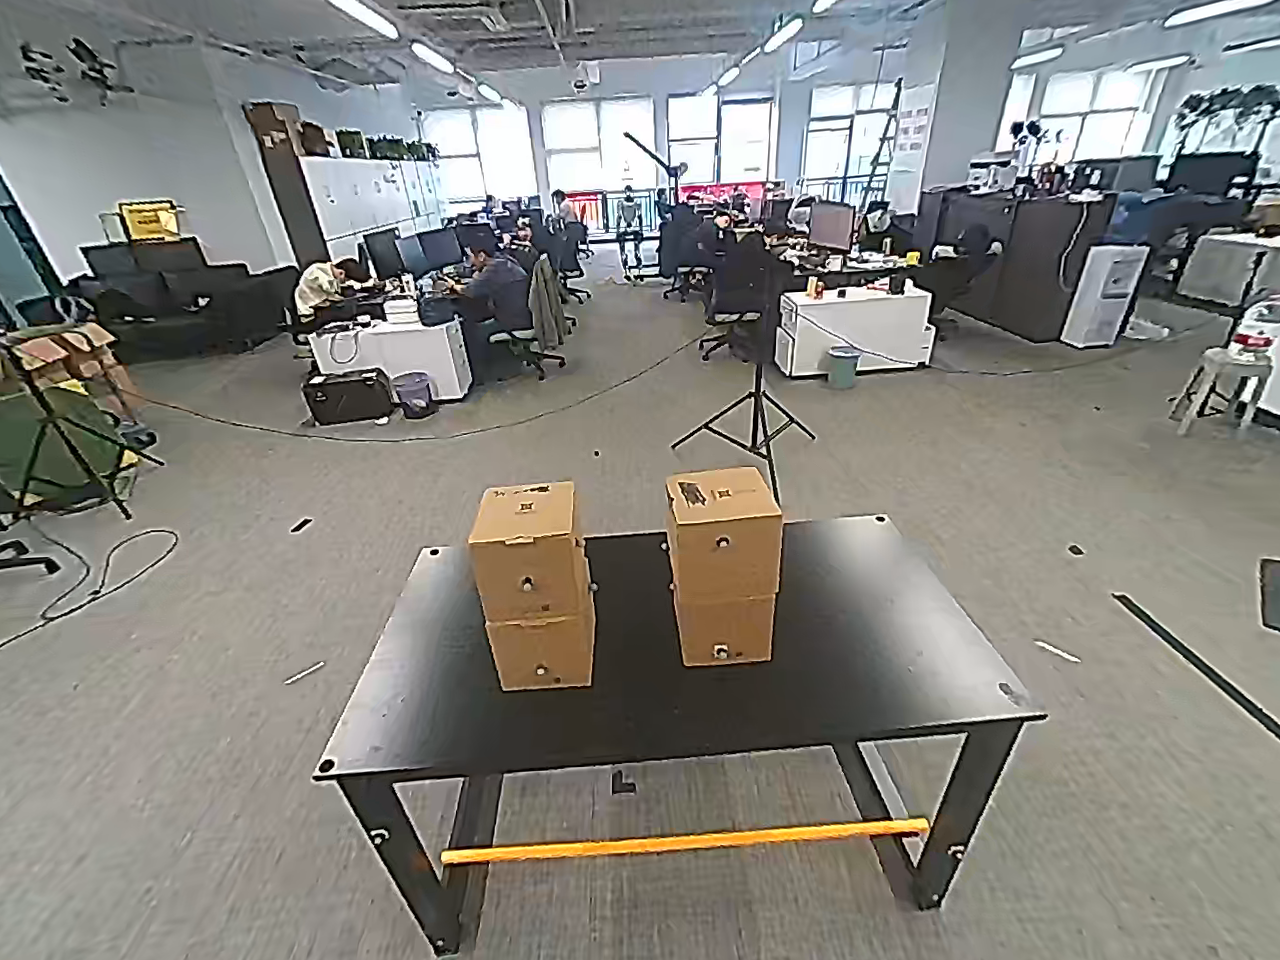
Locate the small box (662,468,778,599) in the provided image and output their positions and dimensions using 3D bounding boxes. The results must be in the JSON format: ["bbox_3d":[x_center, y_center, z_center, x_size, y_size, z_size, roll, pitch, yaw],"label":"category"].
[{"bbox_3d":[0.140,0.097,0.975,0.179,0.176,0.168,-6,29,-2],"label":"small box"}]

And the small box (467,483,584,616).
[{"bbox_3d":[-0.192,0.127,0.962,0.168,0.176,0.179,-5,30,-2],"label":"small box"}]

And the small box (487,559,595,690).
[{"bbox_3d":[-0.178,0.273,1.035,0.168,0.176,0.179,-4,30,1],"label":"small box"}]

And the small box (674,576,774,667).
[{"bbox_3d":[0.156,0.238,1.060,0.168,0.176,0.179,-6,30,-1],"label":"small box"}]
